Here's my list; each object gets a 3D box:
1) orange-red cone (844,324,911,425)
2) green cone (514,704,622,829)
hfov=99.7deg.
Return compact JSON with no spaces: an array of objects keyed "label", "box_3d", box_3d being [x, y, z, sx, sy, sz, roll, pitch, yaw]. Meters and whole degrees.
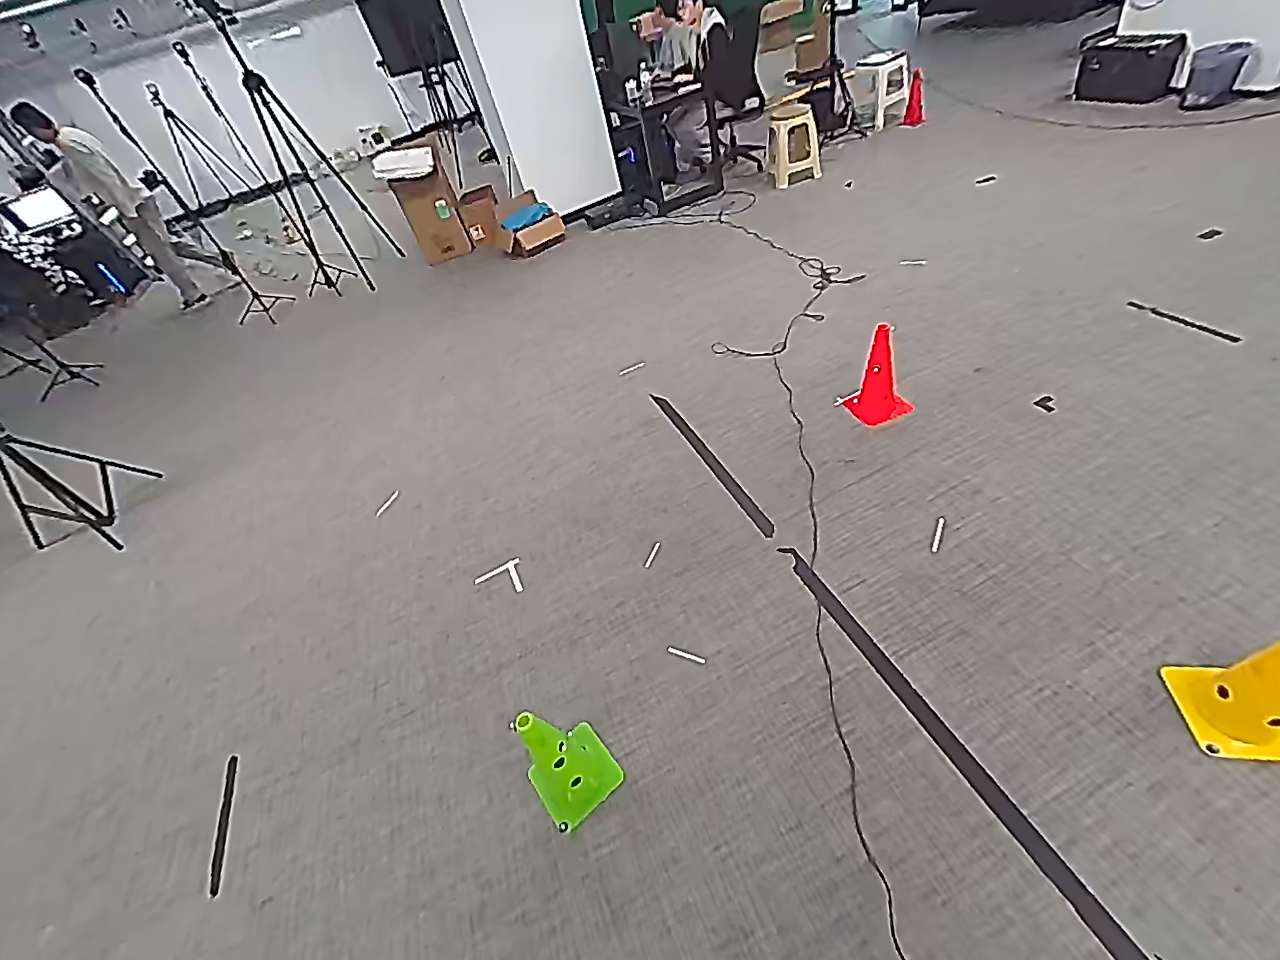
[{"label":"orange-red cone","box_3d":[0.897,-0.414,2.017,0.198,0.360,0.199,-21,43,-2]},{"label":"green cone","box_3d":[-0.209,0.635,1.292,0.200,0.368,0.202,-36,44,-20]}]
